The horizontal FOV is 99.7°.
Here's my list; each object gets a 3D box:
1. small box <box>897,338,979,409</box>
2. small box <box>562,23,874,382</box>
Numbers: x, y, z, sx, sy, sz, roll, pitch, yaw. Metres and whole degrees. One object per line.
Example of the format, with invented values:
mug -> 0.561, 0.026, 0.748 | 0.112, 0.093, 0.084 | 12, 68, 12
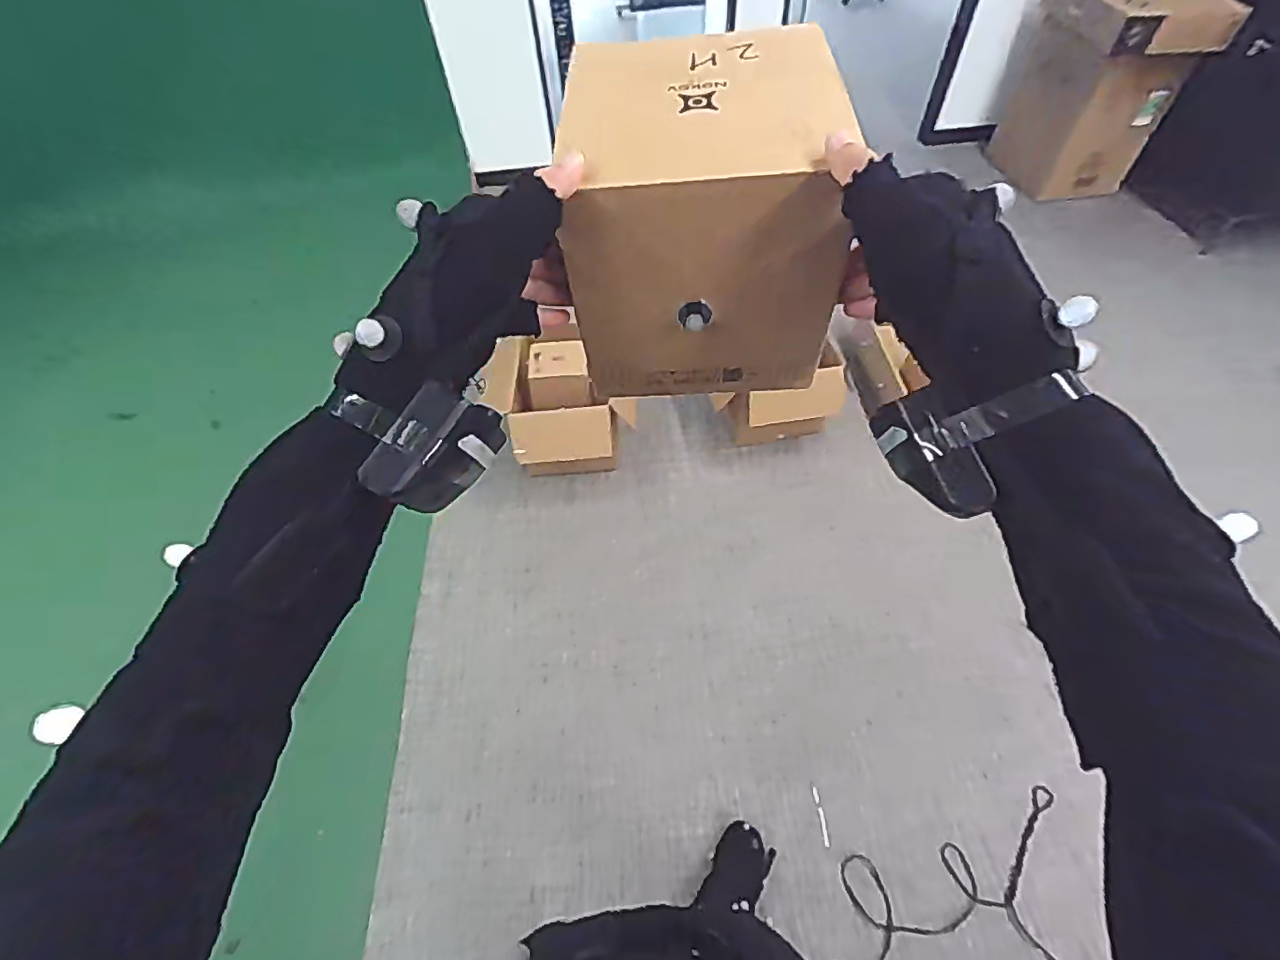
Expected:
small box -> 1.011, -0.363, 1.854 | 0.168, 0.176, 0.179 | -4, 53, -1
small box -> 0.049, -0.184, 0.390 | 0.168, 0.176, 0.179 | -1, 58, 5
